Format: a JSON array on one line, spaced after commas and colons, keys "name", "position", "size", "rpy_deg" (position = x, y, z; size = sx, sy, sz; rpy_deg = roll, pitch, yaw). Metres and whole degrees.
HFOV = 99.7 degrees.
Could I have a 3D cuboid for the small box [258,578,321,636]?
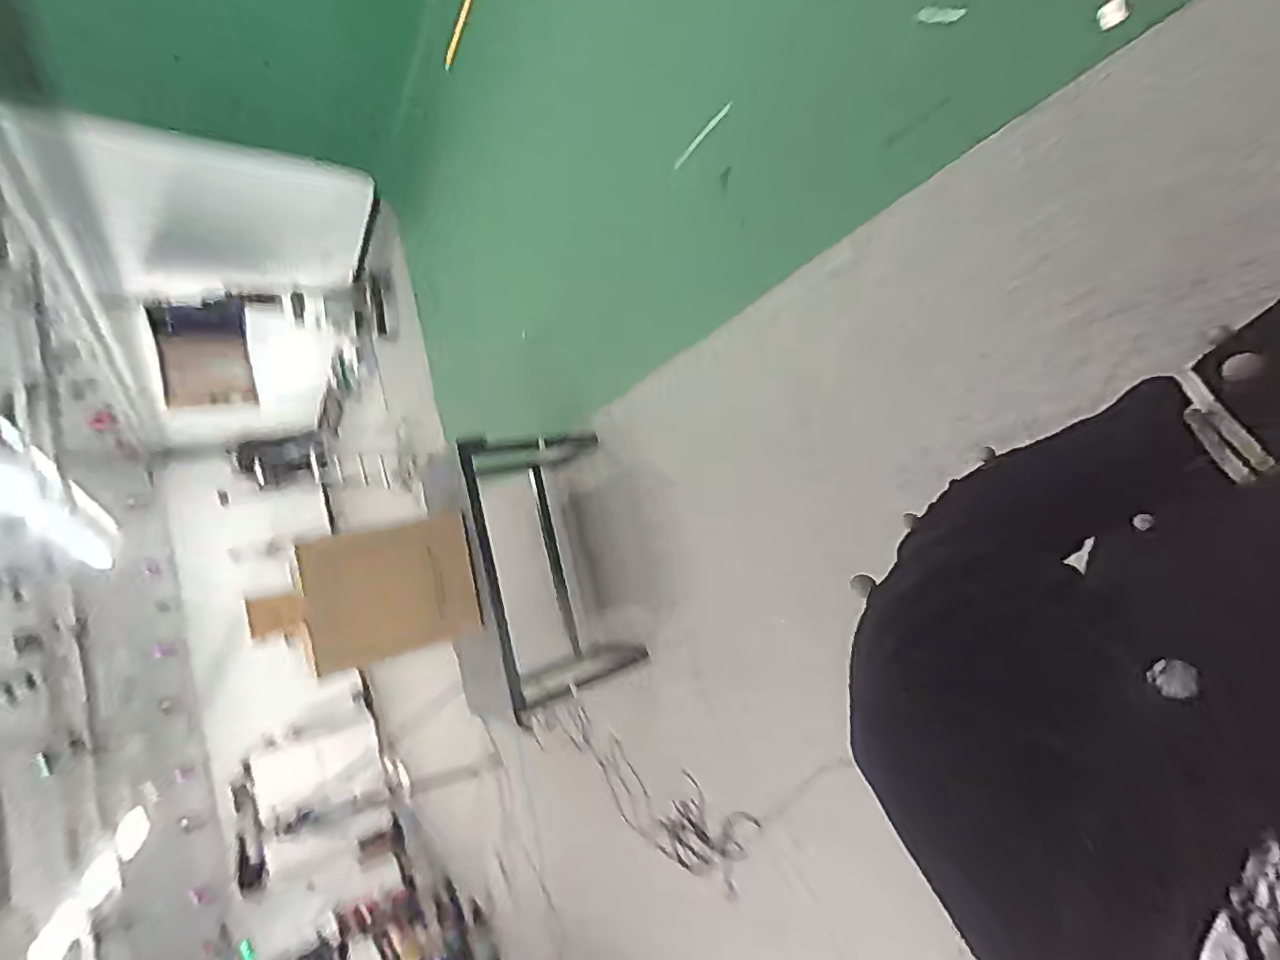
[{"name": "small box", "position": [-1.290, 0.467, 1.993], "size": [0.179, 0.176, 0.168], "rpy_deg": [-27, 77, 51]}]
